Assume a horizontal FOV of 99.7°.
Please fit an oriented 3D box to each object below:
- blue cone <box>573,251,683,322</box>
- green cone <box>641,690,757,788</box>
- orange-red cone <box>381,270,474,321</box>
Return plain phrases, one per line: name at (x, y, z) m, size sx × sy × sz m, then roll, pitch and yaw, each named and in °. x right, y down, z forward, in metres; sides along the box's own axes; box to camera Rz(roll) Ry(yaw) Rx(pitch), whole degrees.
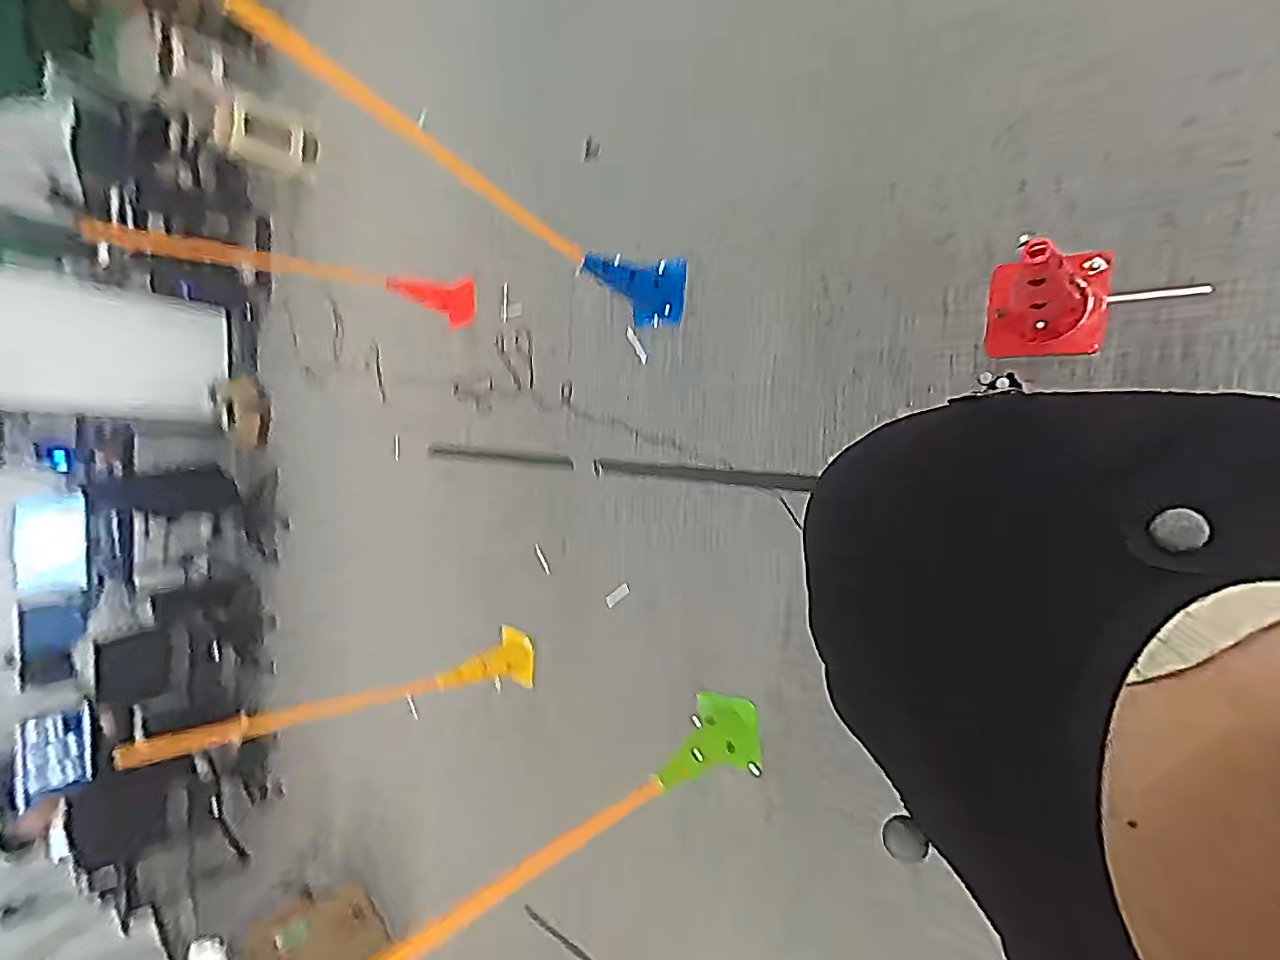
blue cone at (-0.047, -0.609, 1.612) m, size 0.192 × 0.380 × 0.193 m, roll 10°, pitch 97°, yaw 39°
green cone at (0.138, 0.735, 1.468) m, size 0.202 × 0.368 × 0.200 m, roll -8°, pitch 86°, yaw 41°
orange-red cone at (-0.907, -0.817, 2.283) m, size 0.198 × 0.360 × 0.199 m, roll 0°, pitch 92°, yaw 39°
